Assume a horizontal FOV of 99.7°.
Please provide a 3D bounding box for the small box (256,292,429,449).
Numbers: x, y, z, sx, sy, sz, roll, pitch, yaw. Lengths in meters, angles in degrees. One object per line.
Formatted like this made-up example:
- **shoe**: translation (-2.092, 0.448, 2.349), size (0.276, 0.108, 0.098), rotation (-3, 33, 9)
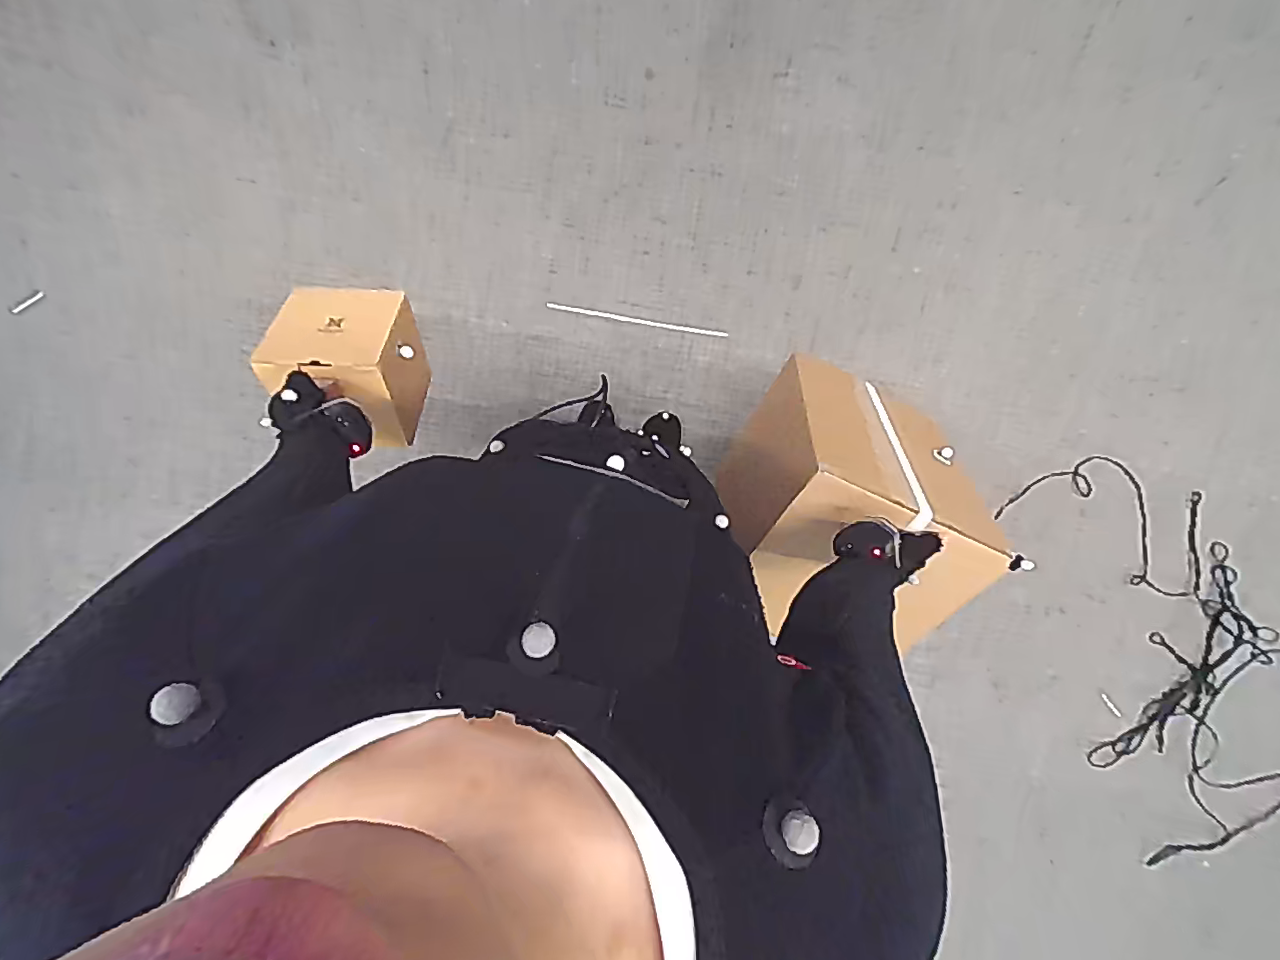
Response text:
- **small box**: translation (-0.441, -0.169, 0.840), size (0.168, 0.179, 0.176), rotation (0, 142, -4)
